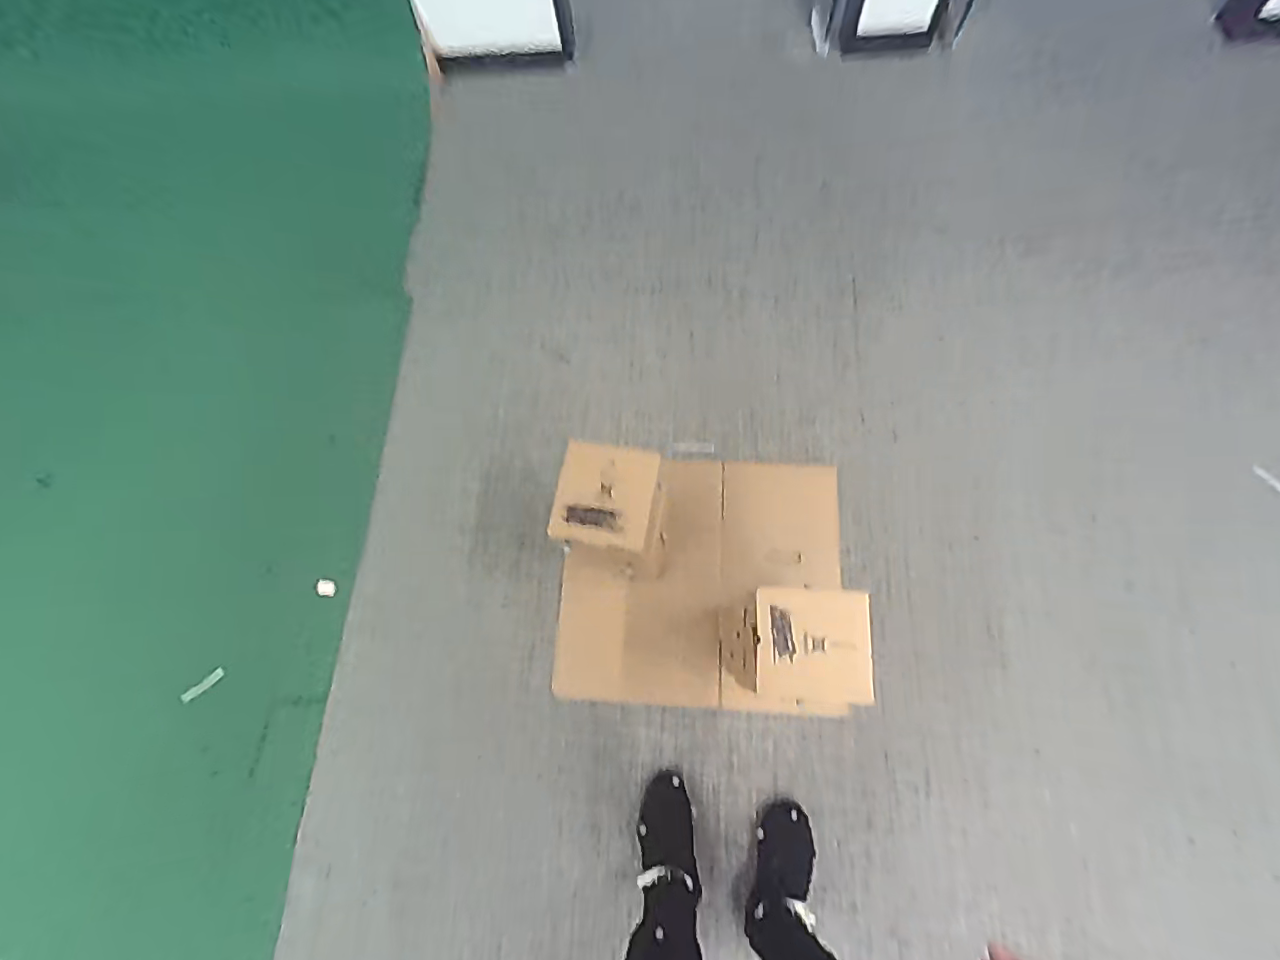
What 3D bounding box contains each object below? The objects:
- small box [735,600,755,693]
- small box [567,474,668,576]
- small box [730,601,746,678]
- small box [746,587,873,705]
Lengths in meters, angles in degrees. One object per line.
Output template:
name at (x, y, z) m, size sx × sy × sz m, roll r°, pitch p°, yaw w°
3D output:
small box at (0.284, 0.328, 1.061) m, size 0.179 × 0.176 × 0.168 m, roll 2°, pitch 74°, yaw 6°
small box at (-0.039, 0.102, 1.150) m, size 0.179 × 0.176 × 0.168 m, roll 10°, pitch 73°, yaw 7°
small box at (0.296, 0.369, 1.217) m, size 0.179 × 0.176 × 0.168 m, roll 3°, pitch 73°, yaw 6°
small box at (0.272, 0.275, 0.906) m, size 0.179 × 0.176 × 0.168 m, roll 2°, pitch 74°, yaw 6°
